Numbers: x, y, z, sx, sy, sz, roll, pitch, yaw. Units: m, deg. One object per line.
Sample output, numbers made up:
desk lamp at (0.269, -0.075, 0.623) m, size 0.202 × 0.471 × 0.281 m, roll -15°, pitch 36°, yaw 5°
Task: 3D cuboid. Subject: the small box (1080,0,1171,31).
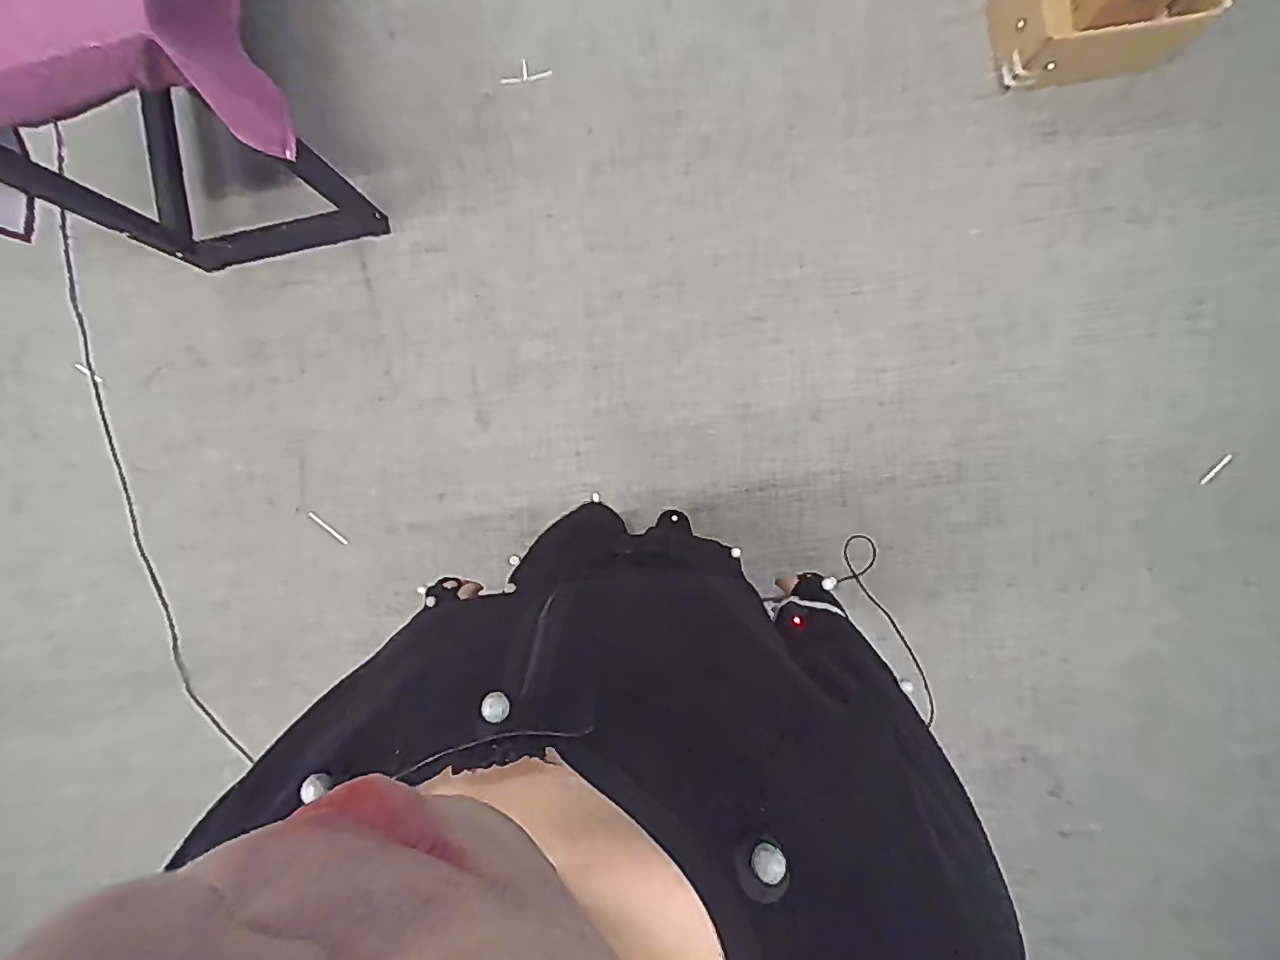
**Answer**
small box at (1.182, -1.216, 1.282) m, size 0.179 × 0.176 × 0.168 m, roll -6°, pitch 90°, yaw 5°
